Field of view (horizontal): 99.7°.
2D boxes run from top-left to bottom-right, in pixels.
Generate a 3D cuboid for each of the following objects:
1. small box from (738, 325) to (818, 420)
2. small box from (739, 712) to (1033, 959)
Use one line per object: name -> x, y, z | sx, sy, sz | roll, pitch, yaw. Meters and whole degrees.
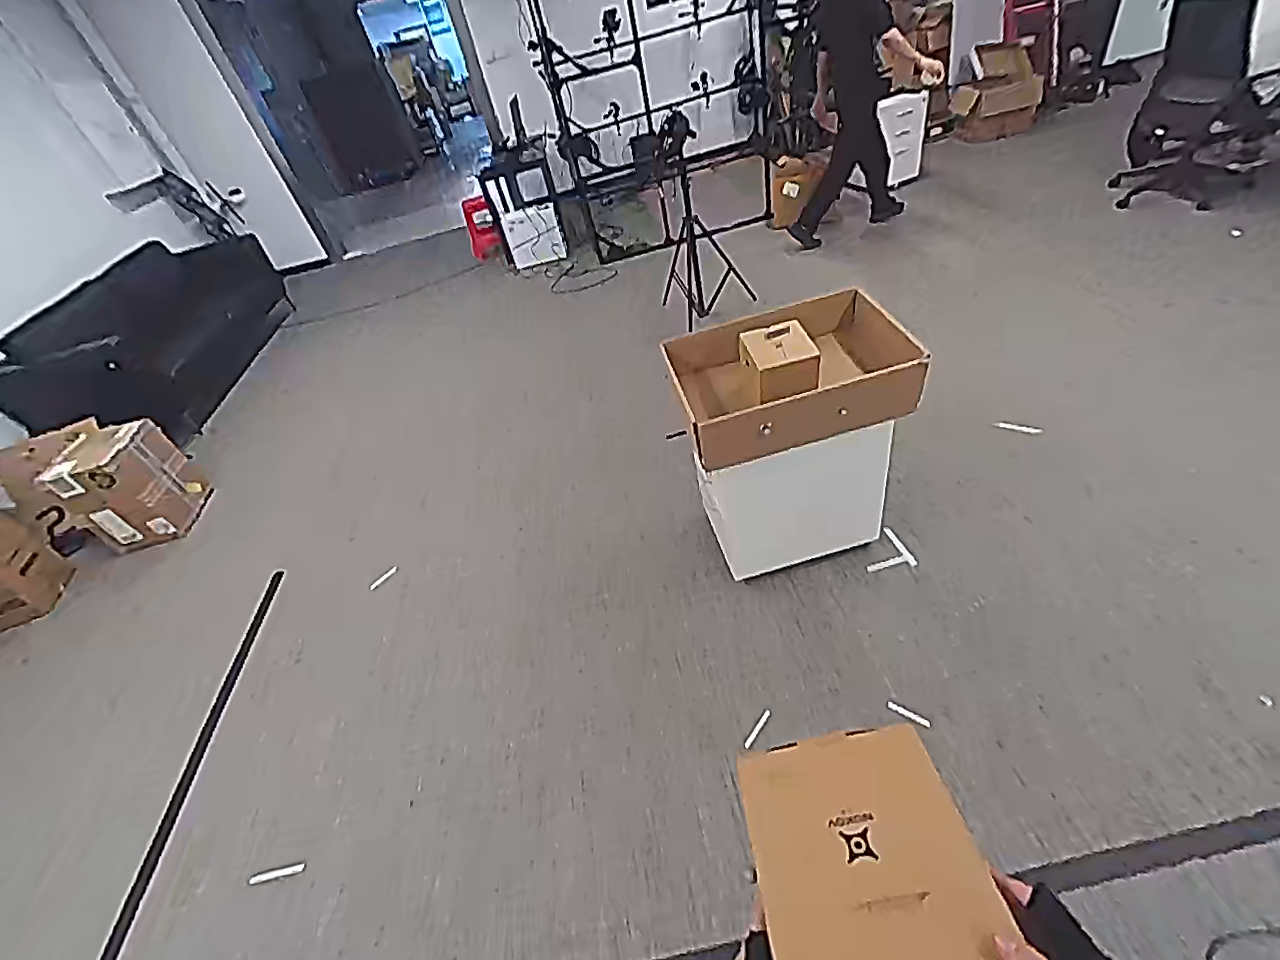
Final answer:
small box -> 0.377, -0.296, 1.496 | 0.168, 0.176, 0.179 | -15, 46, 1
small box -> 0.192, 0.340, 0.467 | 0.168, 0.176, 0.179 | -15, 31, 6
